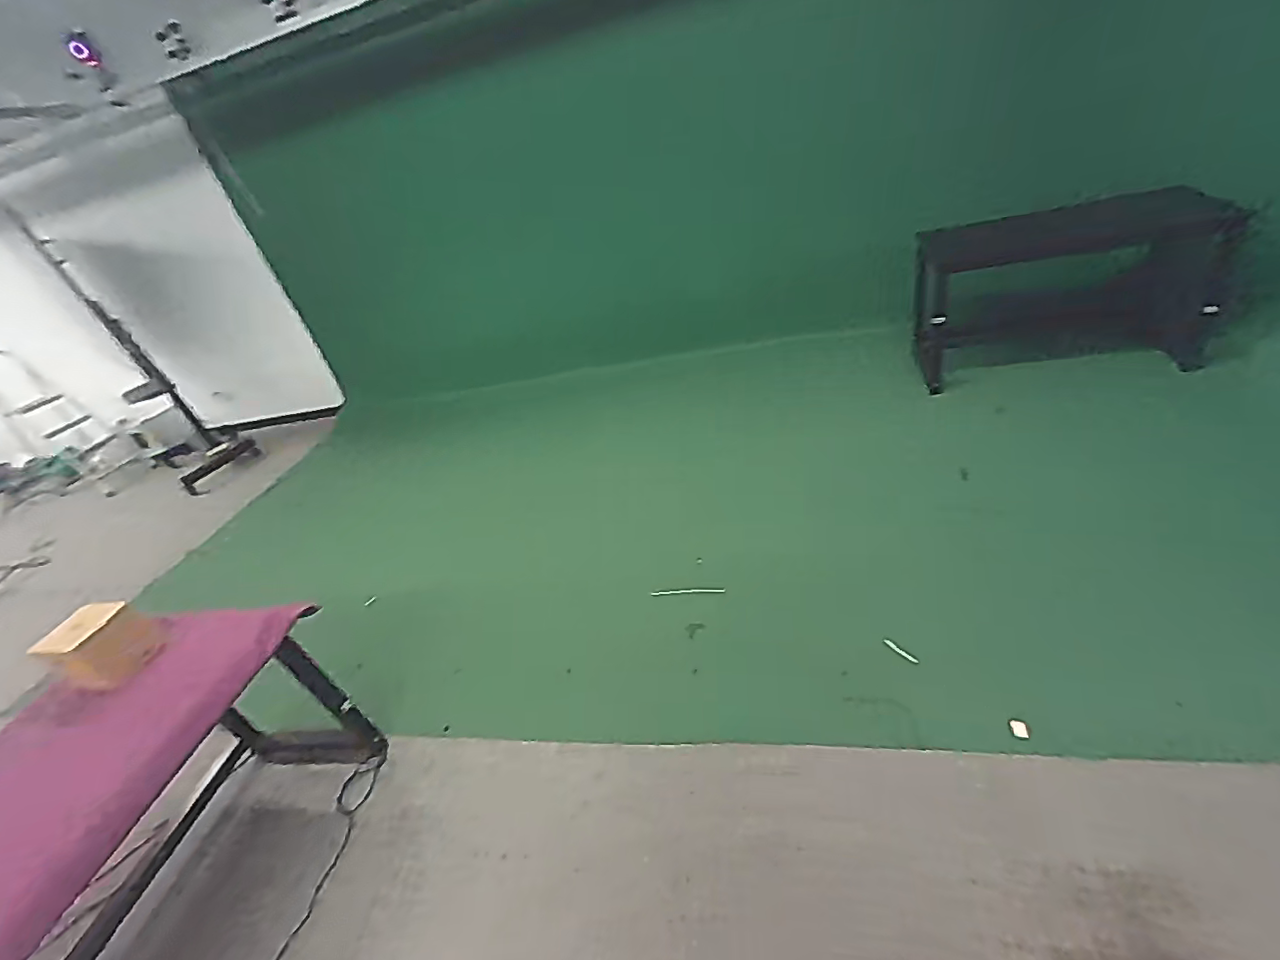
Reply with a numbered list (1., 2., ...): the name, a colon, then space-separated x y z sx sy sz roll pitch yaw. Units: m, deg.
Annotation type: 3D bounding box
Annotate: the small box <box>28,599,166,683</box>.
1. small box: -1.509 0.452 1.514 0.179 0.176 0.168 -5 37 15
